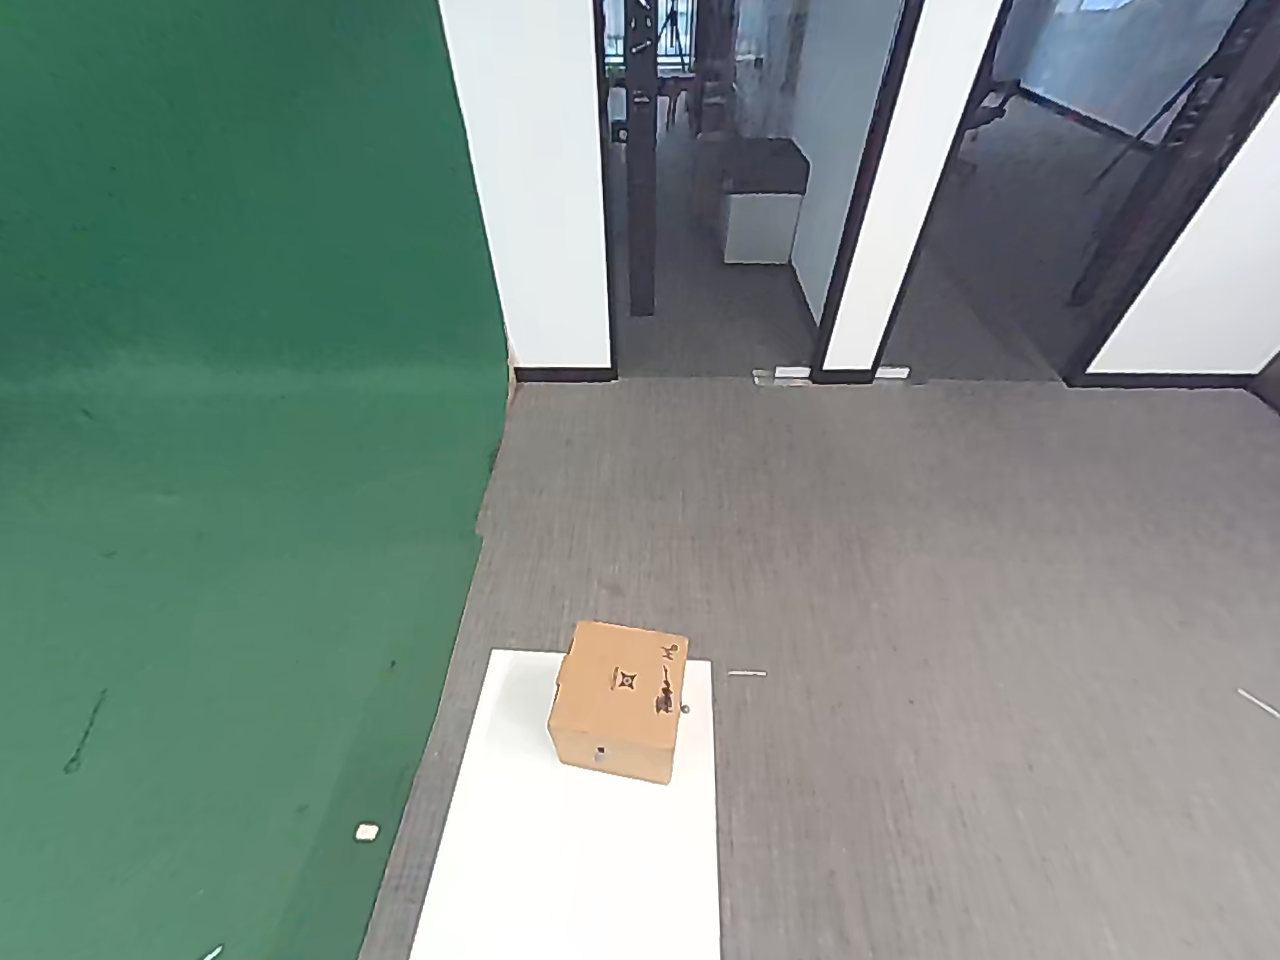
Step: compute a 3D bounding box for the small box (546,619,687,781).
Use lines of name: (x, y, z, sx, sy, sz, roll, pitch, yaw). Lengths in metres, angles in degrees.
small box: (-0.028, 0.340, 0.832, 0.179, 0.176, 0.168, 7, 46, 8)
